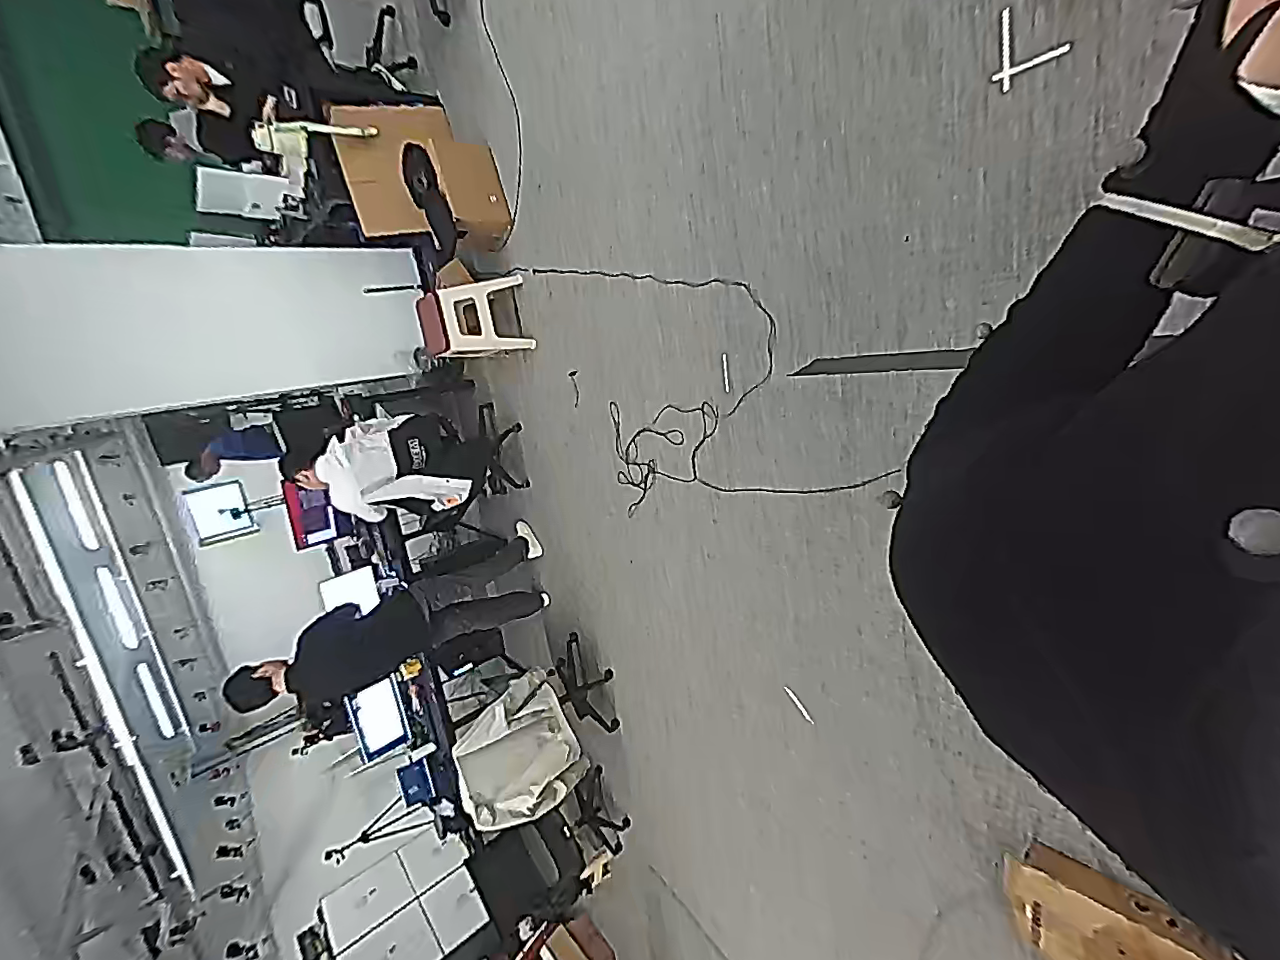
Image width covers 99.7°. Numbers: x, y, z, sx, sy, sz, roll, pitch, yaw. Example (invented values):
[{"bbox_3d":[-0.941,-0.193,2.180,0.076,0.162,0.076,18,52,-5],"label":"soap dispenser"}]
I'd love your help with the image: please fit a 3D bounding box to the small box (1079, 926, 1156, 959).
[{"bbox_3d":[1.173,1.256,1.308,0.168,0.176,0.179,8,112,50],"label":"small box"}]
